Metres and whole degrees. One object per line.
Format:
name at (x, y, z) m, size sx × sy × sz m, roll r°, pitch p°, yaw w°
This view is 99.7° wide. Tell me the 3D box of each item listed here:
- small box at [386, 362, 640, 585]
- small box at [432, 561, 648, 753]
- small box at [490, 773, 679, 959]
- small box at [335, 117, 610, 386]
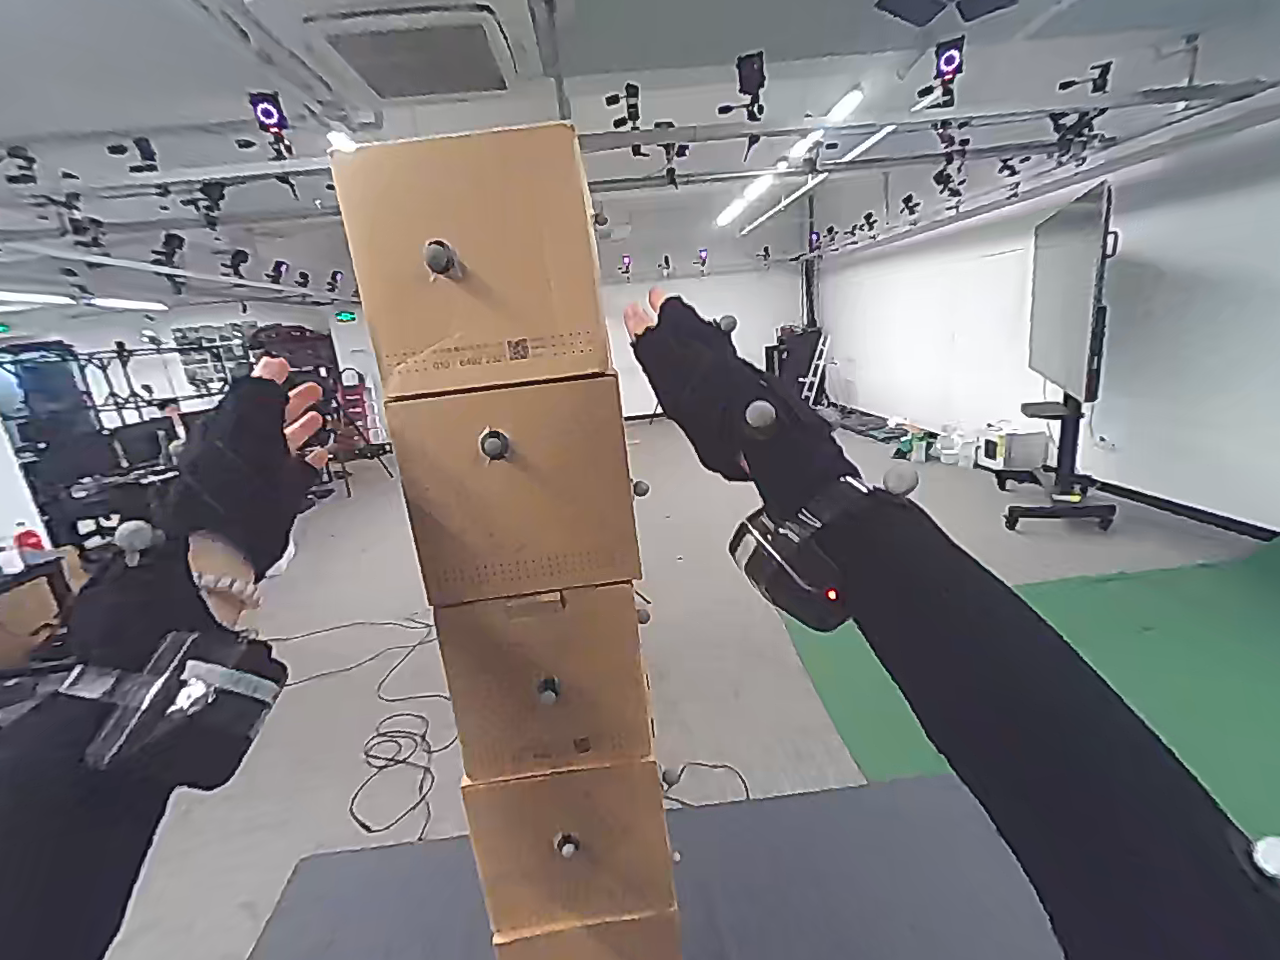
small box at (-0.099, -0.014, 0.497) m, size 0.179 × 0.176 × 0.168 m, roll -7°, pitch 14°, yaw -2°
small box at (-0.085, 0.146, 0.539) m, size 0.168 × 0.176 × 0.179 m, roll -6°, pitch 14°, yaw -3°
small box at (-0.052, 0.465, 0.599) m, size 0.179 × 0.176 × 0.168 m, roll -7°, pitch 14°, yaw -3°
small box at (-0.117, -0.171, 0.461) m, size 0.168 × 0.176 × 0.179 m, roll -7°, pitch 12°, yaw 0°
